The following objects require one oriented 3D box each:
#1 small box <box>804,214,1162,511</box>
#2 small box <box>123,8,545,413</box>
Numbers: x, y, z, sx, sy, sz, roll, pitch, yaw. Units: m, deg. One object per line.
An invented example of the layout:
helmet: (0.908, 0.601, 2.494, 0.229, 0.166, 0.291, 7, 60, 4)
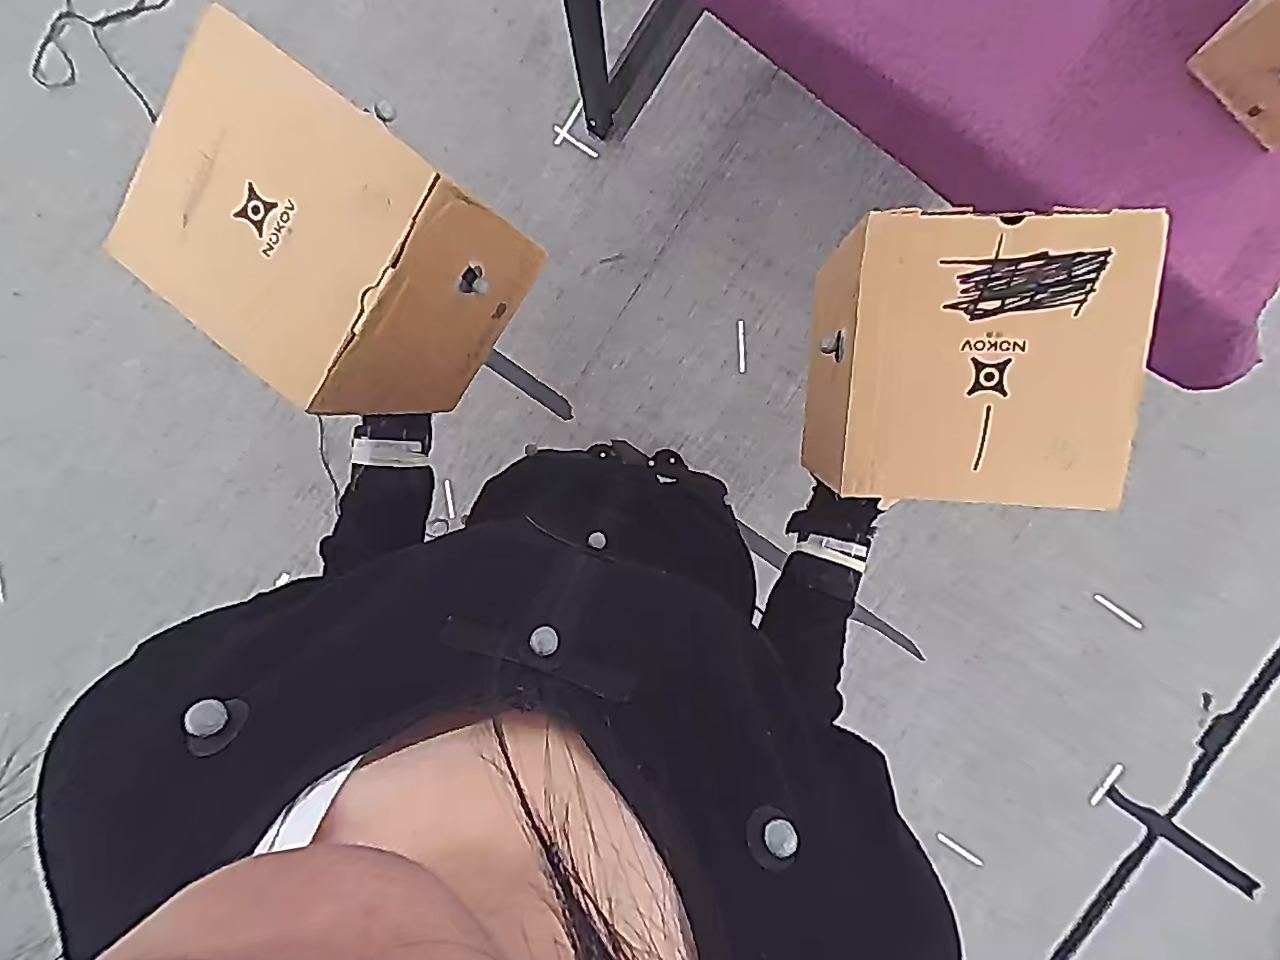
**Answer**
small box: (0.227, -0.083, 0.412, 0.168, 0.176, 0.179, 4, 99, 7)
small box: (-0.199, -0.167, 0.398, 0.179, 0.176, 0.168, 38, 102, 5)
